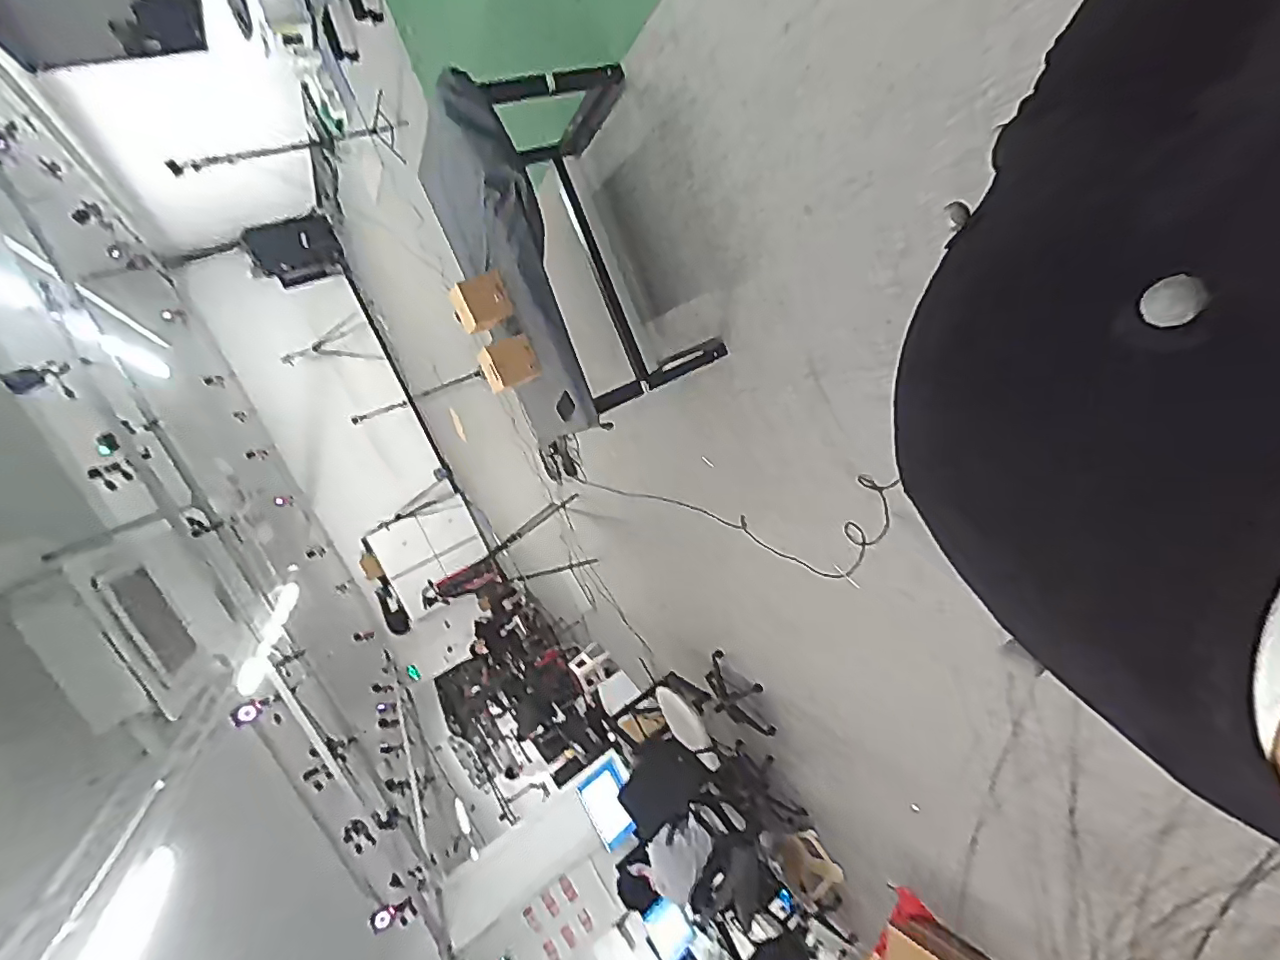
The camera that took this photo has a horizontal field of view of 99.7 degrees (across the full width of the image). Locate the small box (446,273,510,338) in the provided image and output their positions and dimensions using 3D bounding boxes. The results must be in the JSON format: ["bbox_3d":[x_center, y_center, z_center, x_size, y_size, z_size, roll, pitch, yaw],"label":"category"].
[{"bbox_3d":[-0.616,-0.664,2.063,0.179,0.176,0.168,-5,113,62],"label":"small box"}]

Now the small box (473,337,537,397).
[{"bbox_3d":[-0.522,-0.442,2.109,0.179,0.176,0.168,-1,115,63],"label":"small box"}]
